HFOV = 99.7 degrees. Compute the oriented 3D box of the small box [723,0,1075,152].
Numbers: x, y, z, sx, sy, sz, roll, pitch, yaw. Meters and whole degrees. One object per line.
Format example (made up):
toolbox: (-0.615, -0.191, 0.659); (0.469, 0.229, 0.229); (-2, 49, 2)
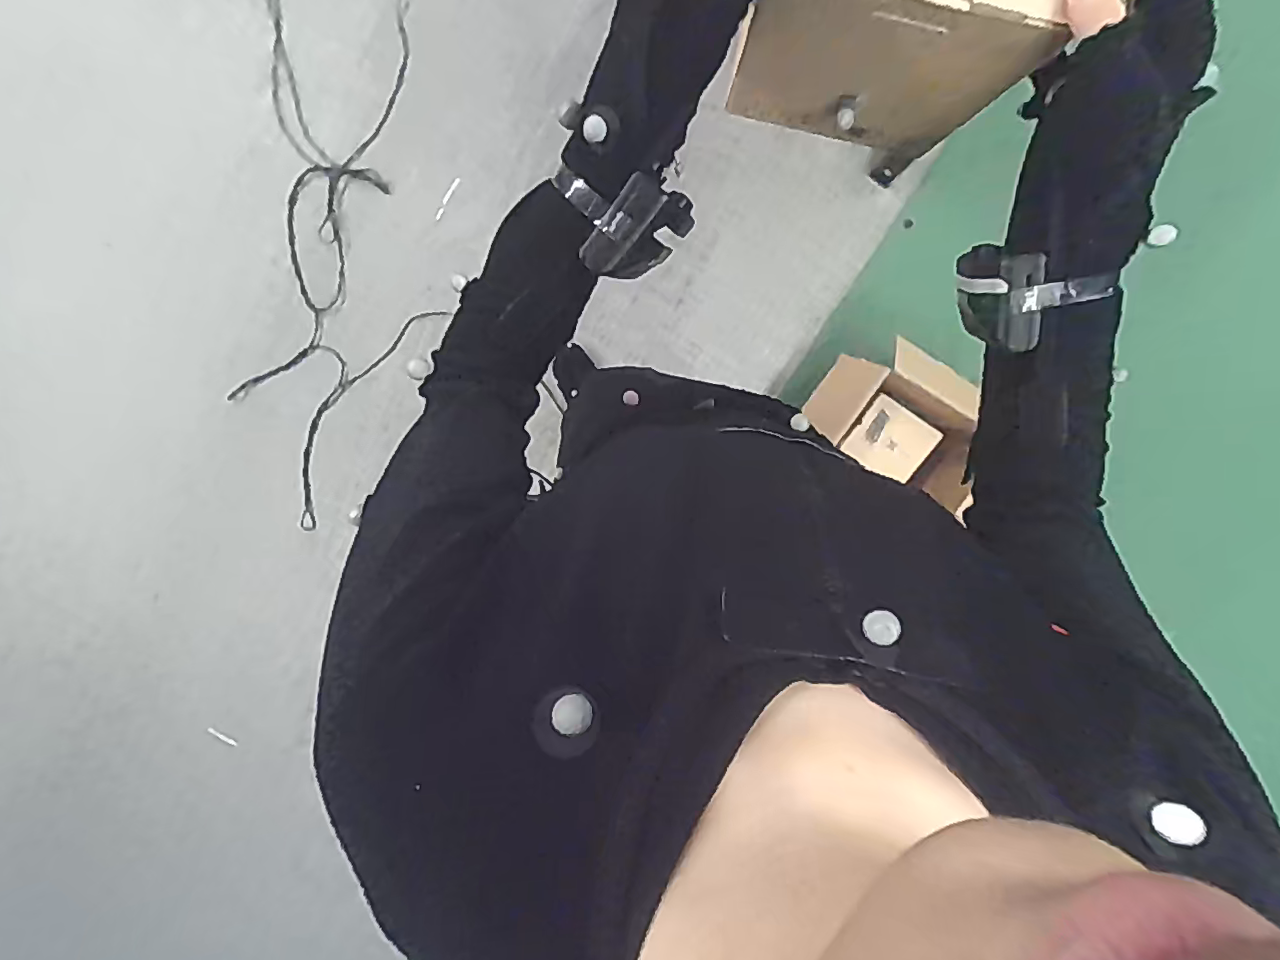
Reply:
small box: (0.157, -0.346, 0.339); (0.168, 0.176, 0.179); (11, 101, -2)
